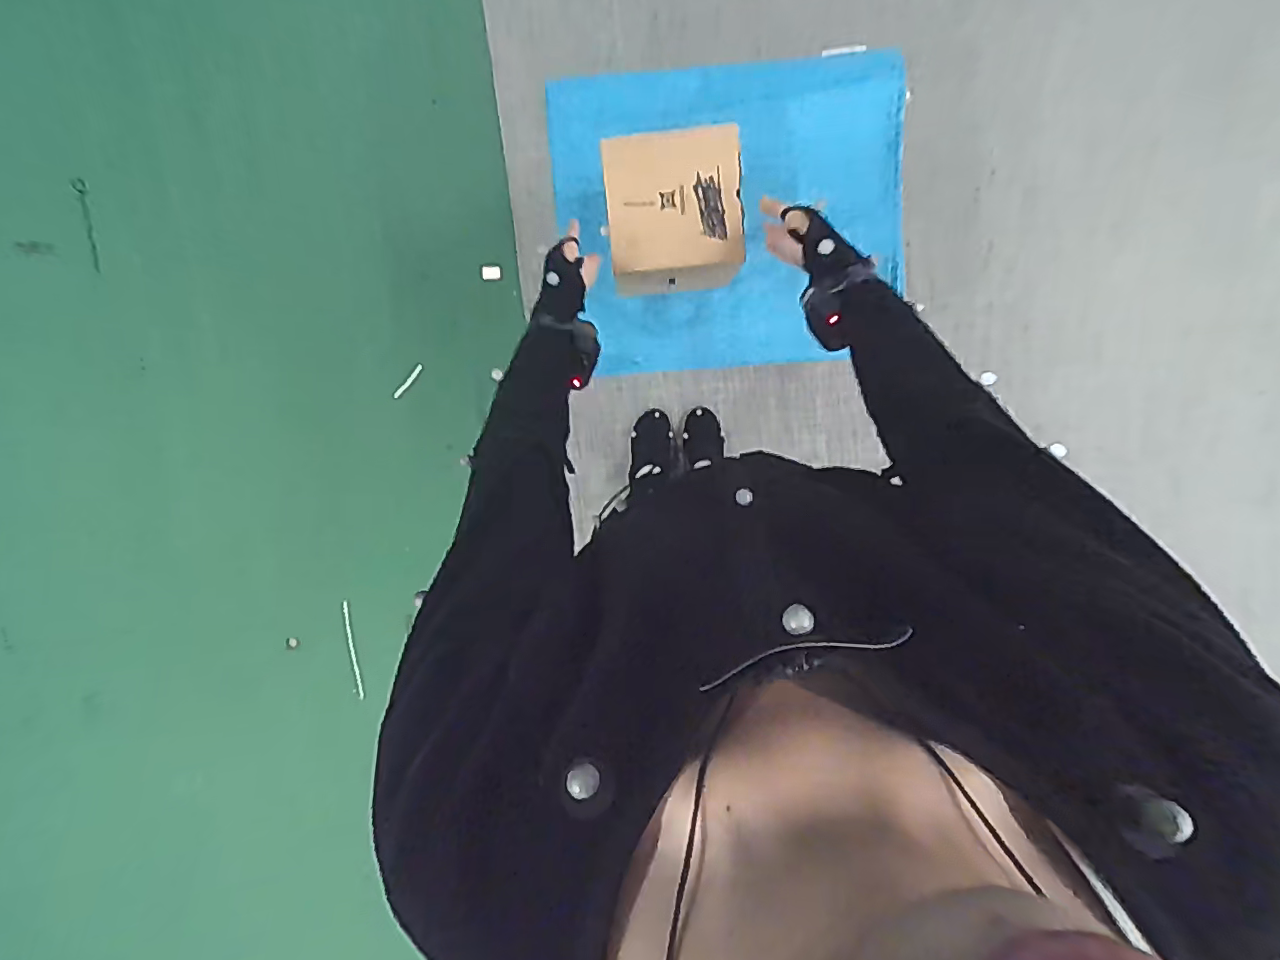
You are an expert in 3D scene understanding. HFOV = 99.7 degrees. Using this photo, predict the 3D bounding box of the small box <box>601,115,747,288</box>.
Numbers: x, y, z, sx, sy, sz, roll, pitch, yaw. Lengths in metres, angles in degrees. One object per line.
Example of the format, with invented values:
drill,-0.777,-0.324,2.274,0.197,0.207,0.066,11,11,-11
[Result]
small box,0.044,-0.372,0.752,0.179,0.176,0.168,-5,99,2
